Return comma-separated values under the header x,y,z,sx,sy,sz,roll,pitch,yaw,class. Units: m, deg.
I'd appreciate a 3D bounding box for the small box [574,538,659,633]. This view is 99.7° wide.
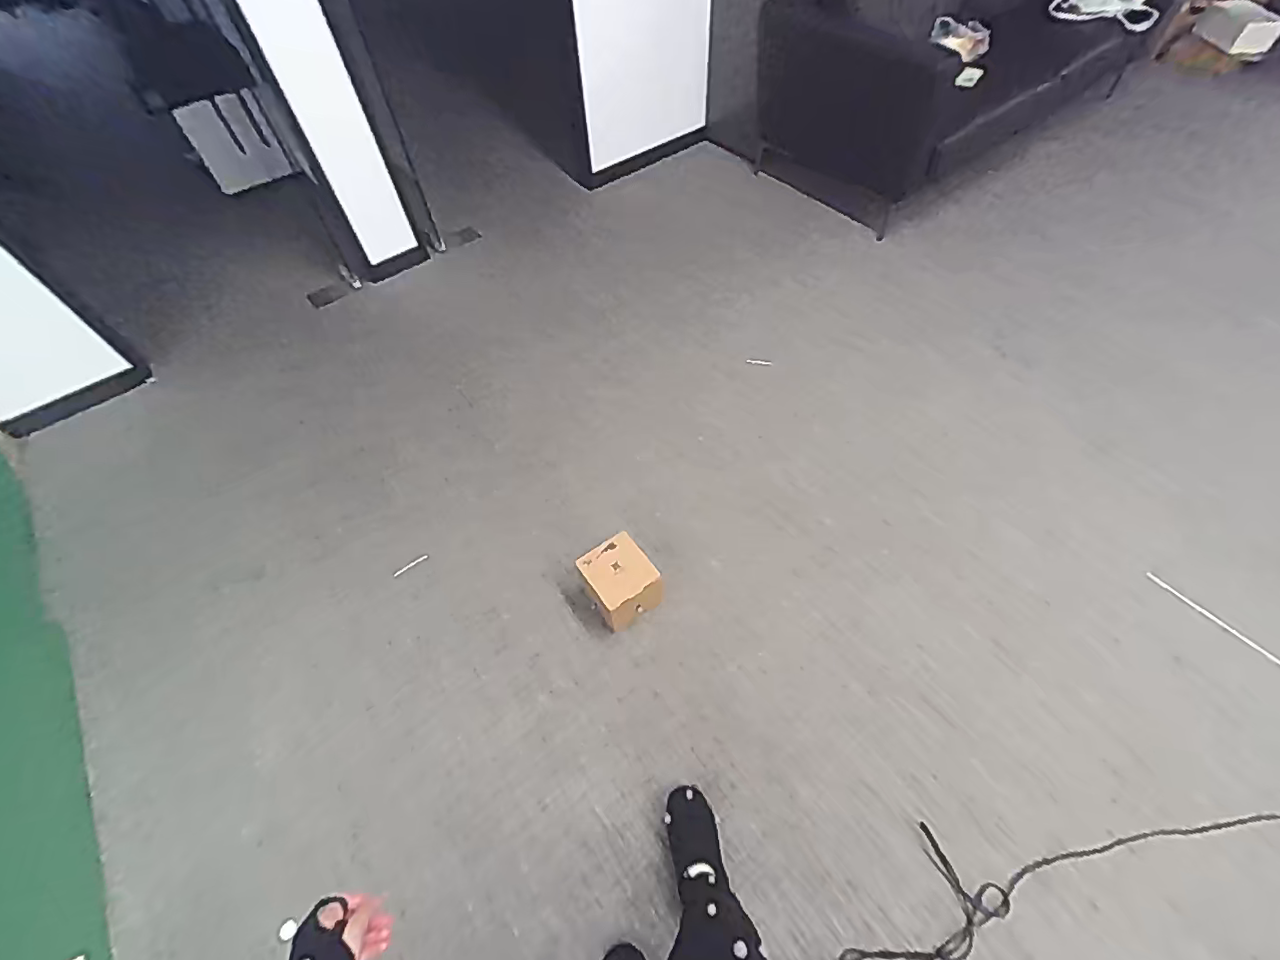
x,y,z,sx,sy,sz,roll,pitch,yaw,class
-0.060,0.298,1.484,0.168,0.176,0.179,-31,59,-18,small box
